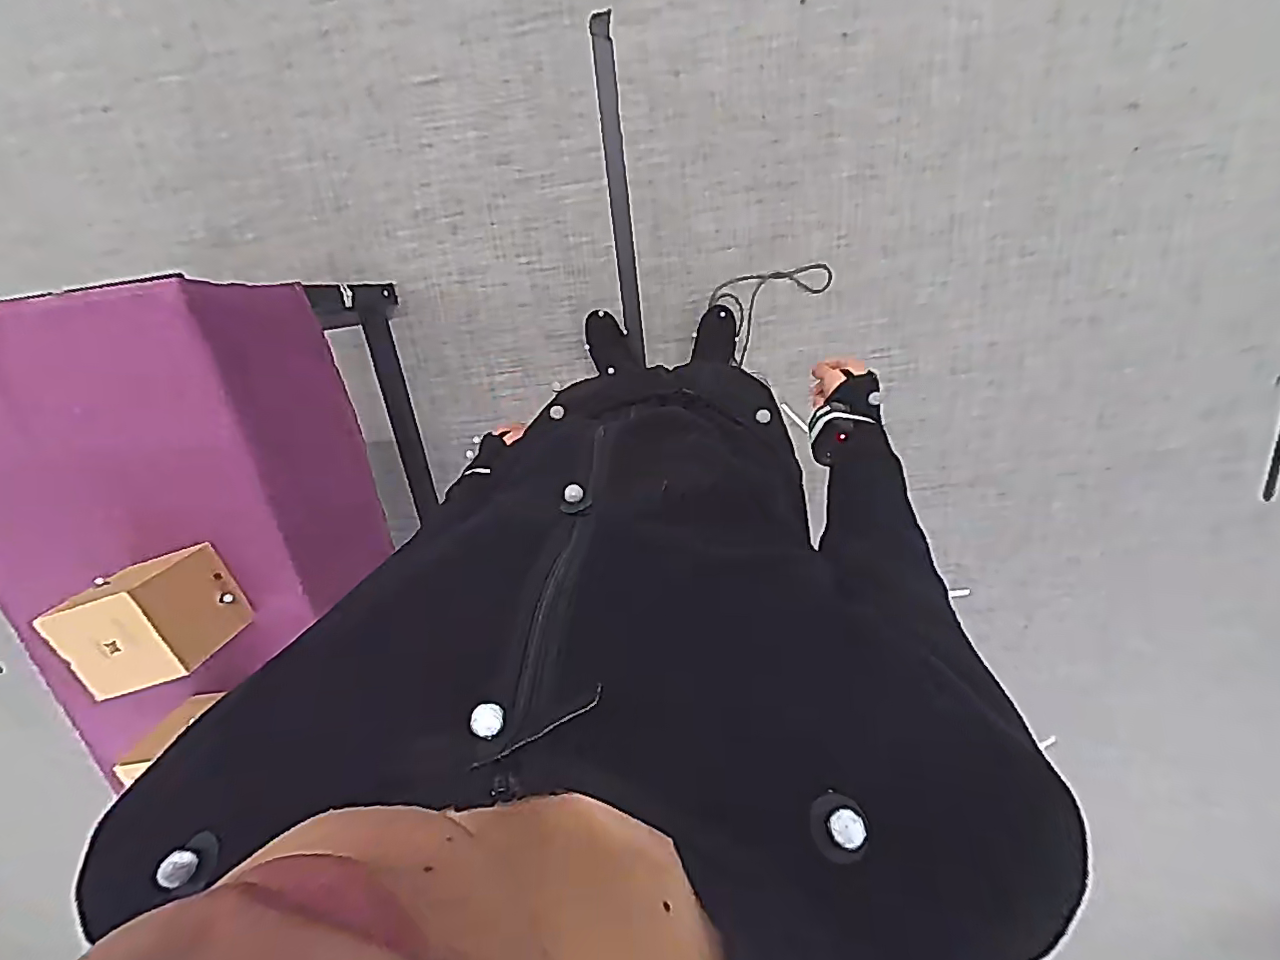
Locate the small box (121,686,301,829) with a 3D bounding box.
[{"bbox_3d":[-0.801,0.522,1.030,0.179,0.176,0.168,-11,110,5],"label":"small box"}]

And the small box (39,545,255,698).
[{"bbox_3d":[-0.822,0.235,0.924,0.179,0.176,0.168,-16,110,8],"label":"small box"}]
